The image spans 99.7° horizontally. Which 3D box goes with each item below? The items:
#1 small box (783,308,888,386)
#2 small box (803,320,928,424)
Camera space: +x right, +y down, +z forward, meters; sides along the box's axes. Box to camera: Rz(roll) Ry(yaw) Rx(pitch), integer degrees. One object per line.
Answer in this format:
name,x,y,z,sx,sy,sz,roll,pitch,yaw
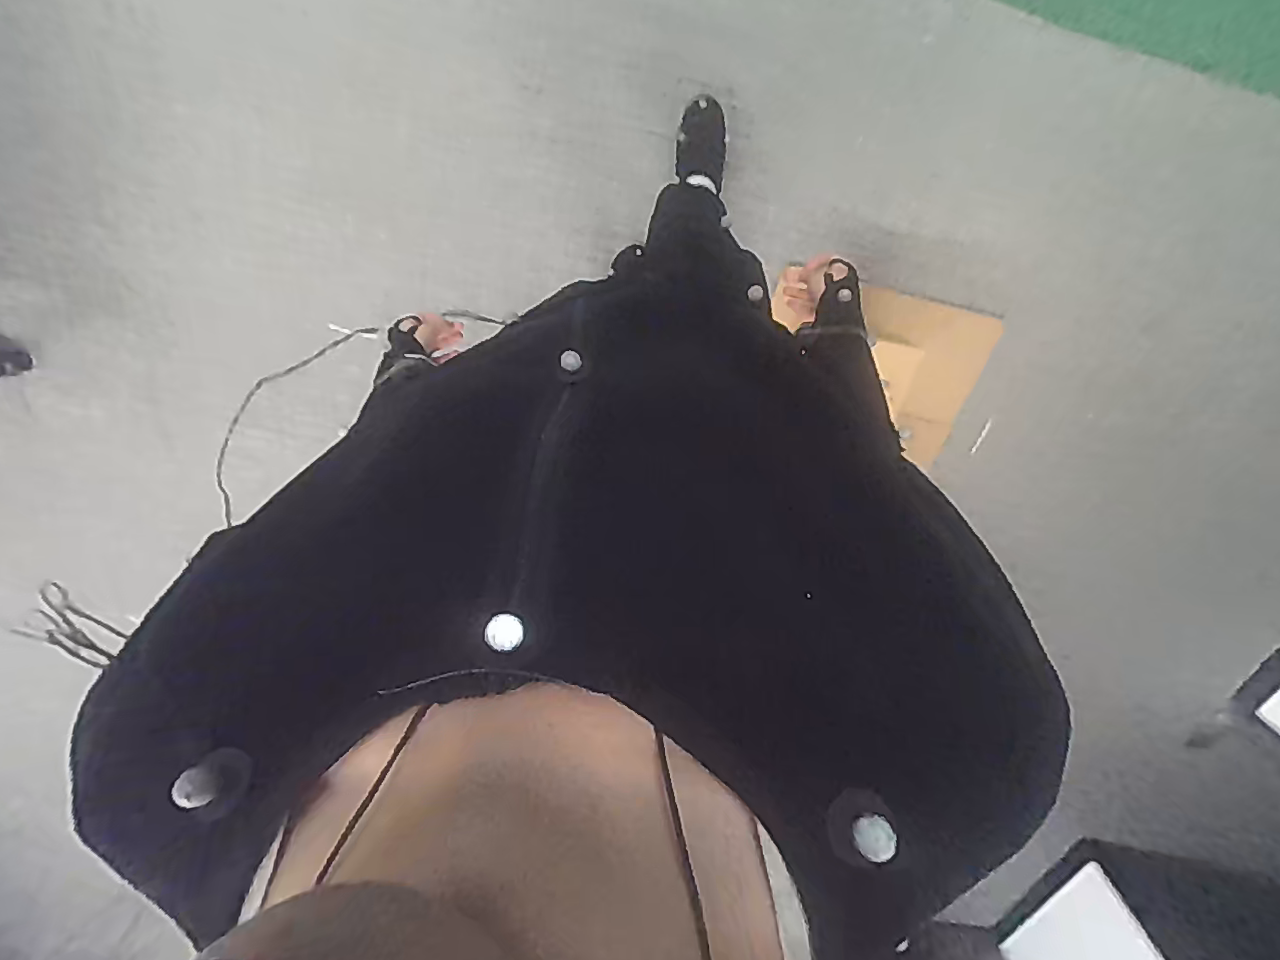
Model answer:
small box,0.473,-0.319,1.335,0.179,0.176,0.168,10,117,-6
small box,0.480,-0.243,1.188,0.179,0.176,0.168,11,117,-6
